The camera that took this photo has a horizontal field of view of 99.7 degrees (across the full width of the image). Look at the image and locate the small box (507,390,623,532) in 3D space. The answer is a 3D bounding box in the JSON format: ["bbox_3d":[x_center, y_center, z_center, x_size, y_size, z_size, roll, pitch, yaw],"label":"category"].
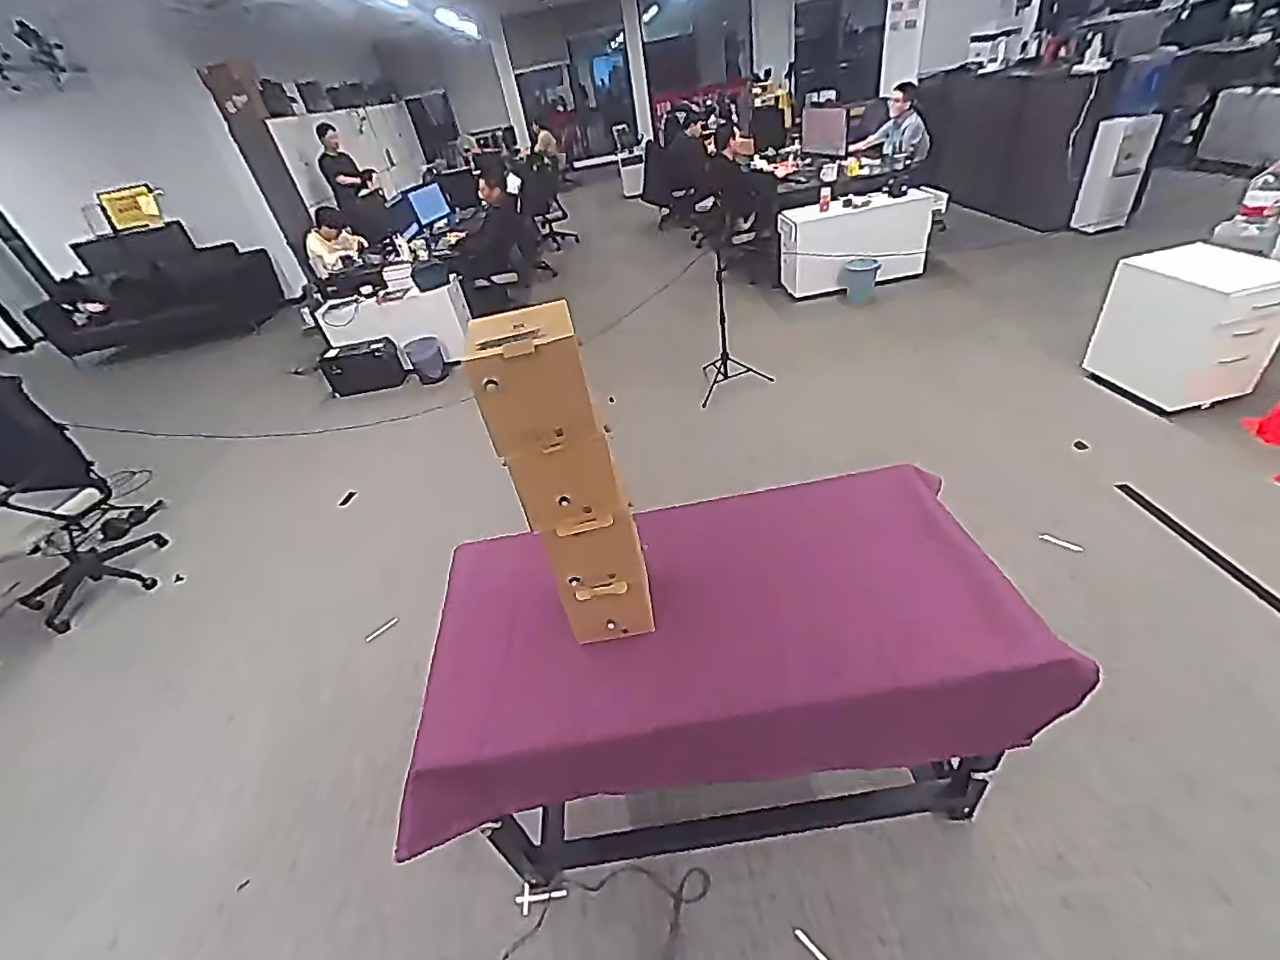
[{"bbox_3d":[-0.136,-0.035,0.973,0.168,0.176,0.179,-15,37,-5],"label":"small box"}]

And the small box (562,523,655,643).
[{"bbox_3d":[-0.066,0.221,1.164,0.168,0.176,0.179,-11,37,2],"label":"small box"}]

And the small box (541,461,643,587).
[{"bbox_3d":[-0.094,0.092,1.067,0.168,0.176,0.179,-12,36,-2],"label":"small box"}]
